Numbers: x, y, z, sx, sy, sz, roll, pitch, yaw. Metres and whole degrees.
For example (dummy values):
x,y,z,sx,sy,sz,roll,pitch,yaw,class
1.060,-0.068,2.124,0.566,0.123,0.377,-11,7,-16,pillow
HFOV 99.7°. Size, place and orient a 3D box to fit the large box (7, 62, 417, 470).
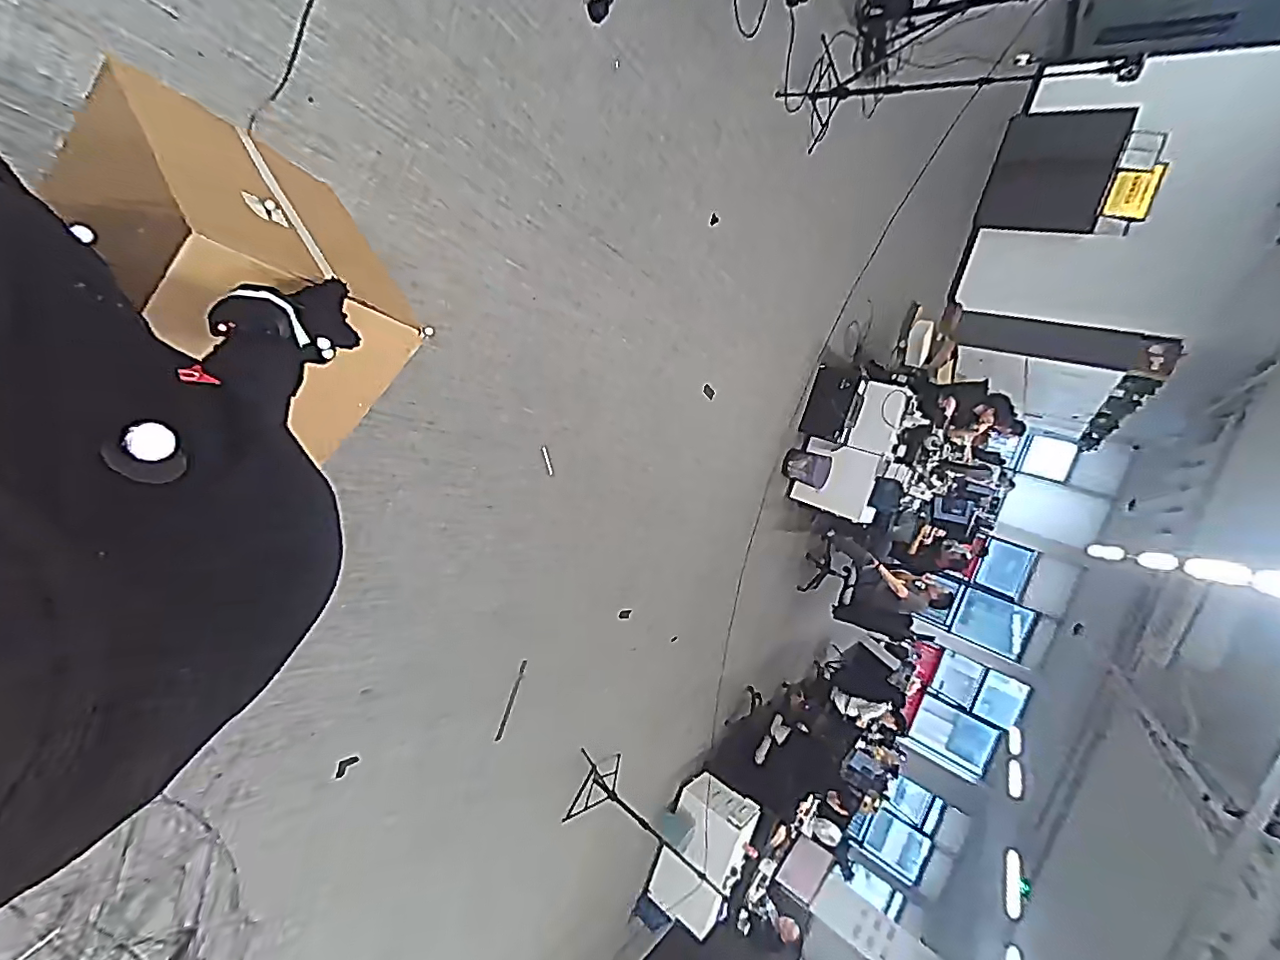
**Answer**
x,y,z,sx,sy,sz,roll,pitch,yaw,class
-0.620,-0.275,0.794,0.320,0.408,0.320,-43,158,16,large box
